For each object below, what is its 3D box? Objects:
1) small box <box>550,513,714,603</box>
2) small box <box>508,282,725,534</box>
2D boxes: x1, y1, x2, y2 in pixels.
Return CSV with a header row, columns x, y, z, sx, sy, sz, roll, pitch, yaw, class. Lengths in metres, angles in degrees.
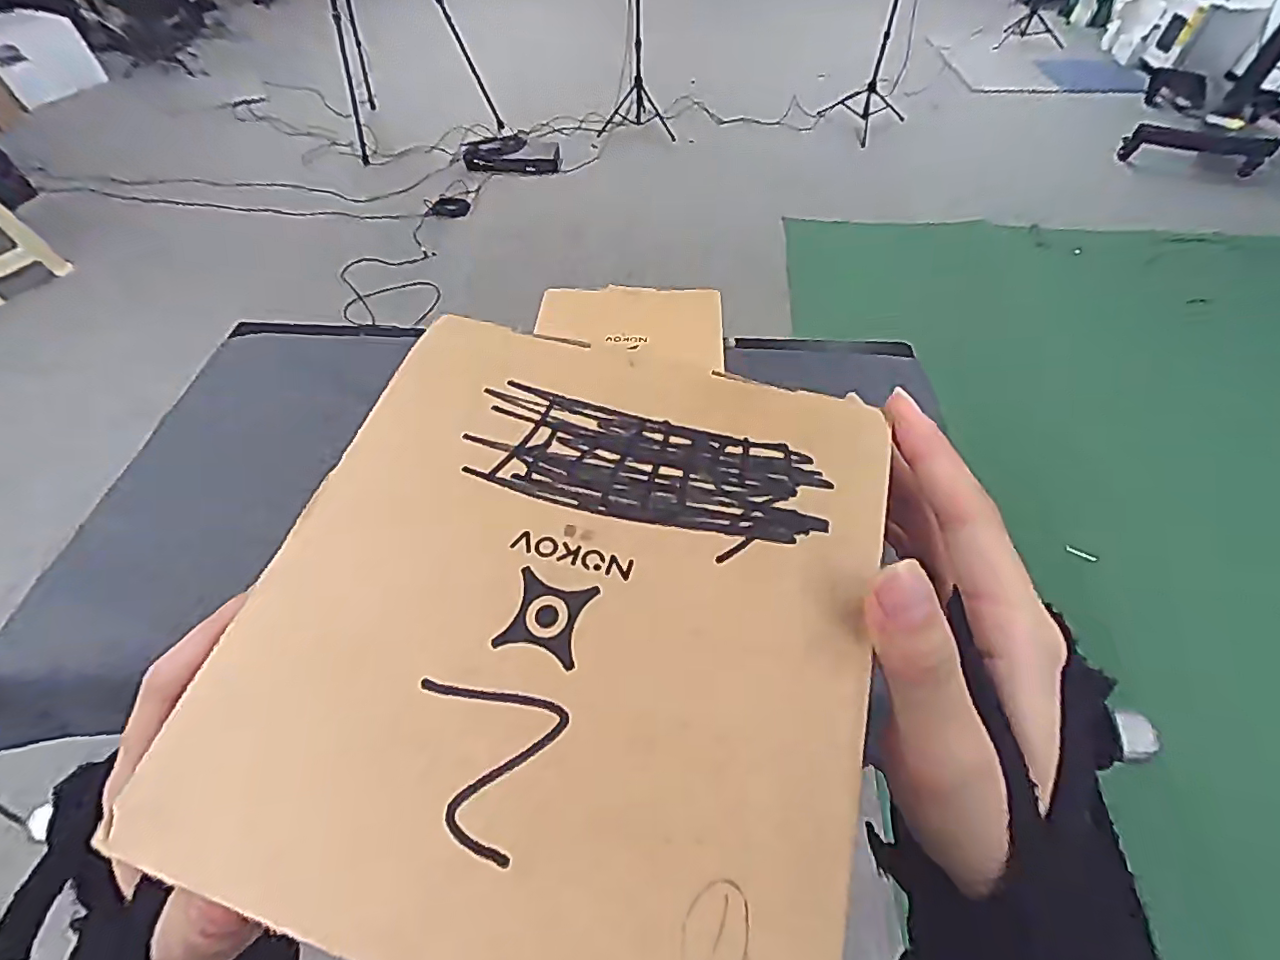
x,y,z,sx,sy,sz,roll,pitch,yaw,class
-0.001,0.027,0.645,0.168,0.176,0.179,2,54,4,small box
-0.010,-0.063,0.509,0.168,0.176,0.179,2,53,3,small box
